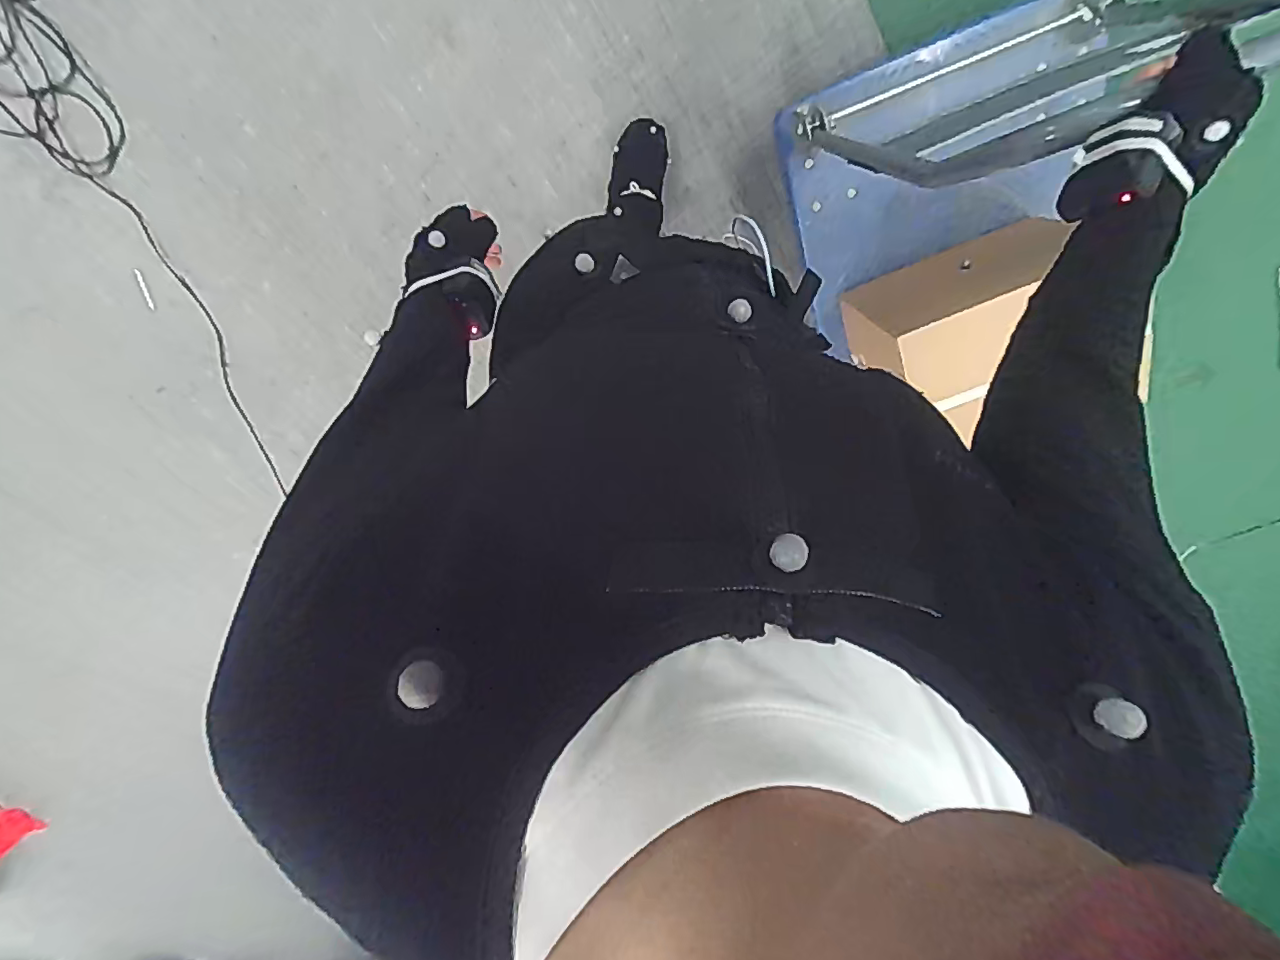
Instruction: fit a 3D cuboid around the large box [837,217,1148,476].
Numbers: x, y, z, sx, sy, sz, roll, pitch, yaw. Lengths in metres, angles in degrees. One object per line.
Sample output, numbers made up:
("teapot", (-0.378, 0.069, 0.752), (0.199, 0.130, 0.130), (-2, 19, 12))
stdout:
("large box", (0.670, -0.273, 1.081), (0.408, 0.320, 0.320), (-22, 120, 11))
